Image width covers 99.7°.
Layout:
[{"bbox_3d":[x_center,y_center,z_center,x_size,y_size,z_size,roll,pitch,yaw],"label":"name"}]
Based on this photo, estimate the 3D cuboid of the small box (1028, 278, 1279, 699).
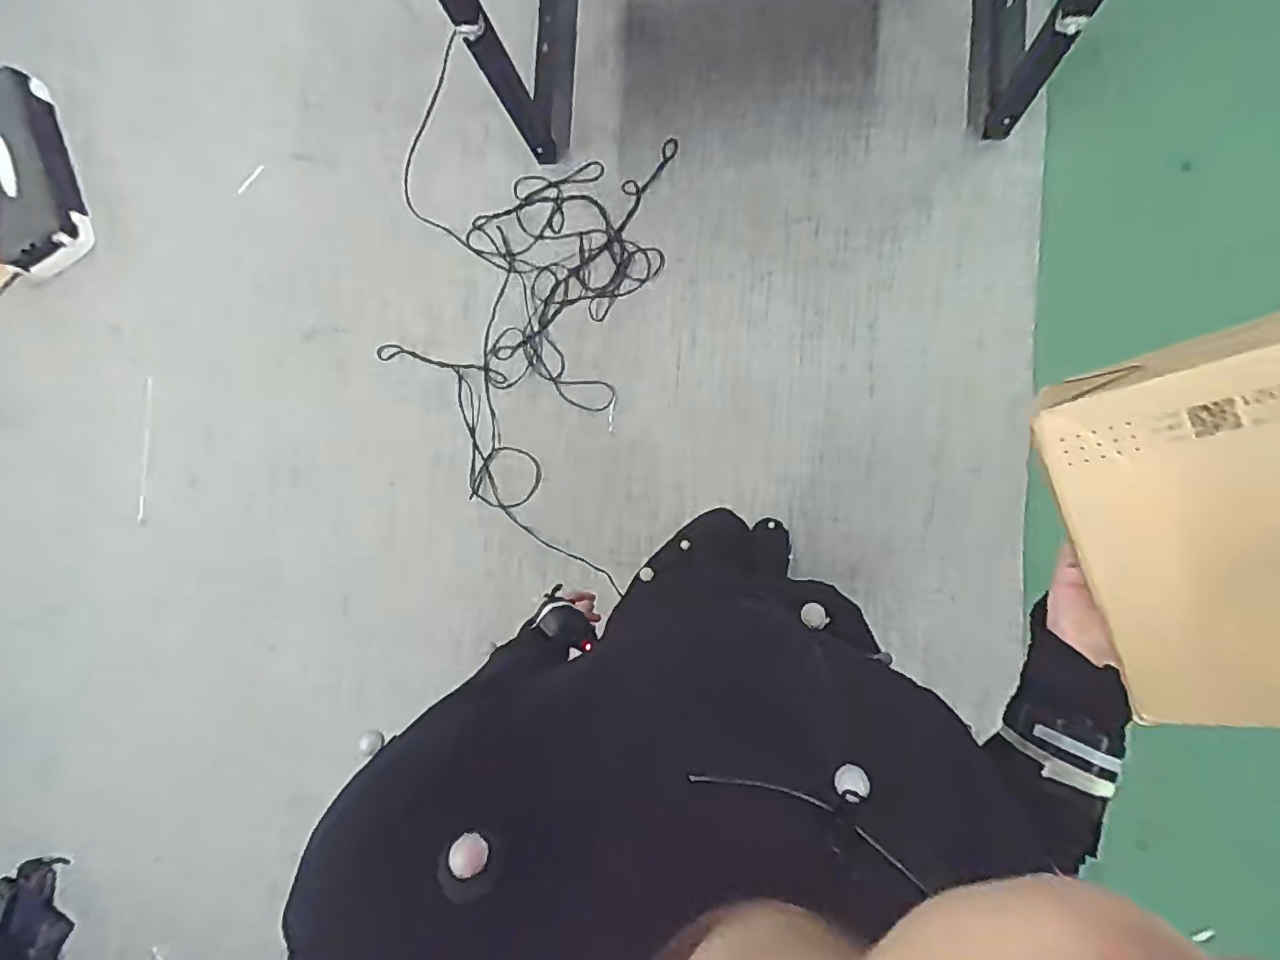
[{"bbox_3d":[0.327,-0.010,0.278,0.168,0.179,0.176,-21,89,42],"label":"small box"}]
